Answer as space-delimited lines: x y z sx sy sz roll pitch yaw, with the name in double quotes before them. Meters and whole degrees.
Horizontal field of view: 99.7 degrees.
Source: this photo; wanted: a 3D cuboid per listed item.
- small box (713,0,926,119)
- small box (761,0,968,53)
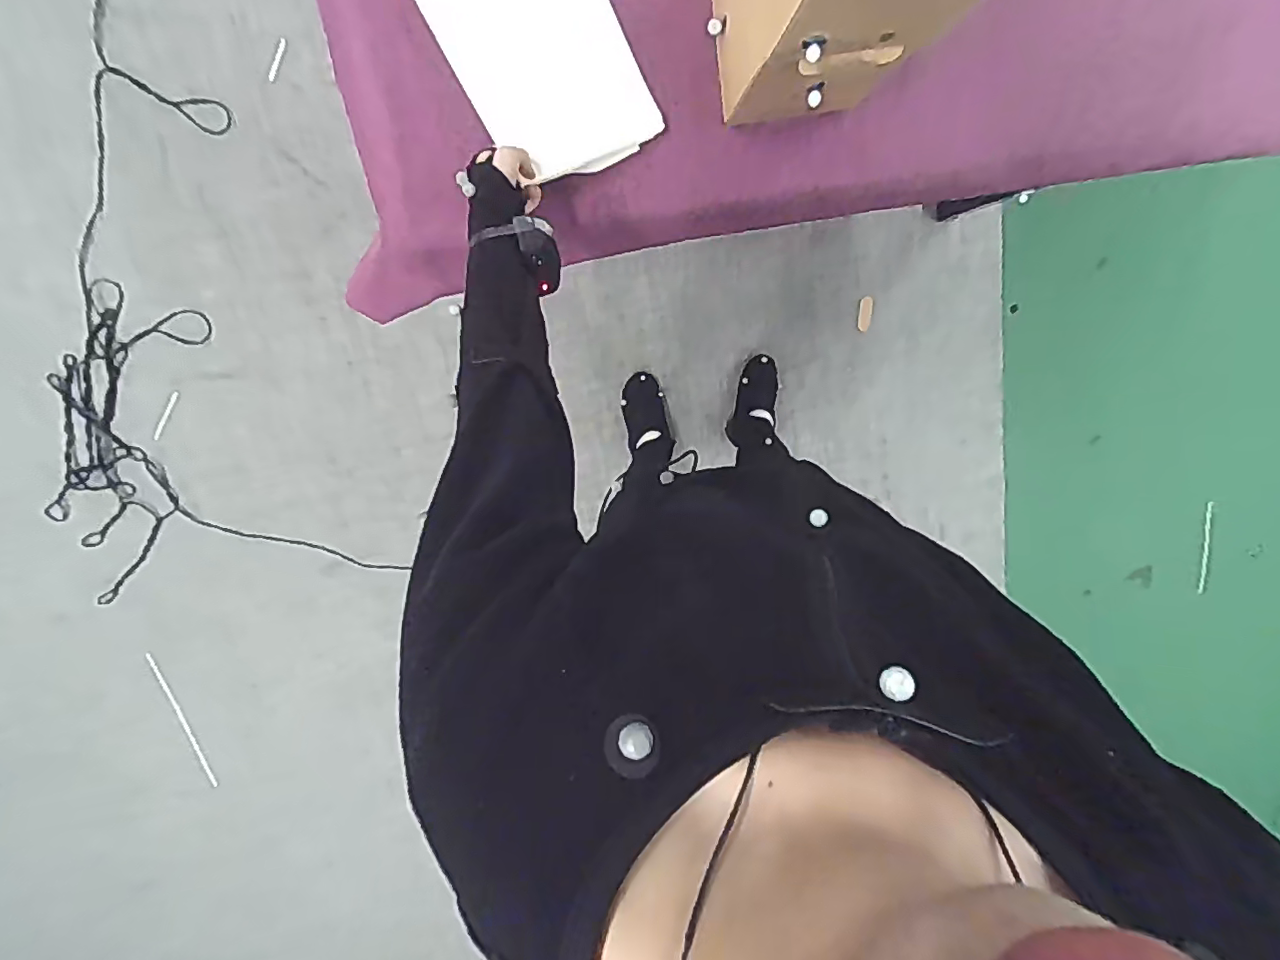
"small box" 0.176 -0.505 0.564 0.168 0.176 0.179 -10 105 -2
"small box" 0.189 -0.461 0.406 0.168 0.176 0.179 -9 103 -2
